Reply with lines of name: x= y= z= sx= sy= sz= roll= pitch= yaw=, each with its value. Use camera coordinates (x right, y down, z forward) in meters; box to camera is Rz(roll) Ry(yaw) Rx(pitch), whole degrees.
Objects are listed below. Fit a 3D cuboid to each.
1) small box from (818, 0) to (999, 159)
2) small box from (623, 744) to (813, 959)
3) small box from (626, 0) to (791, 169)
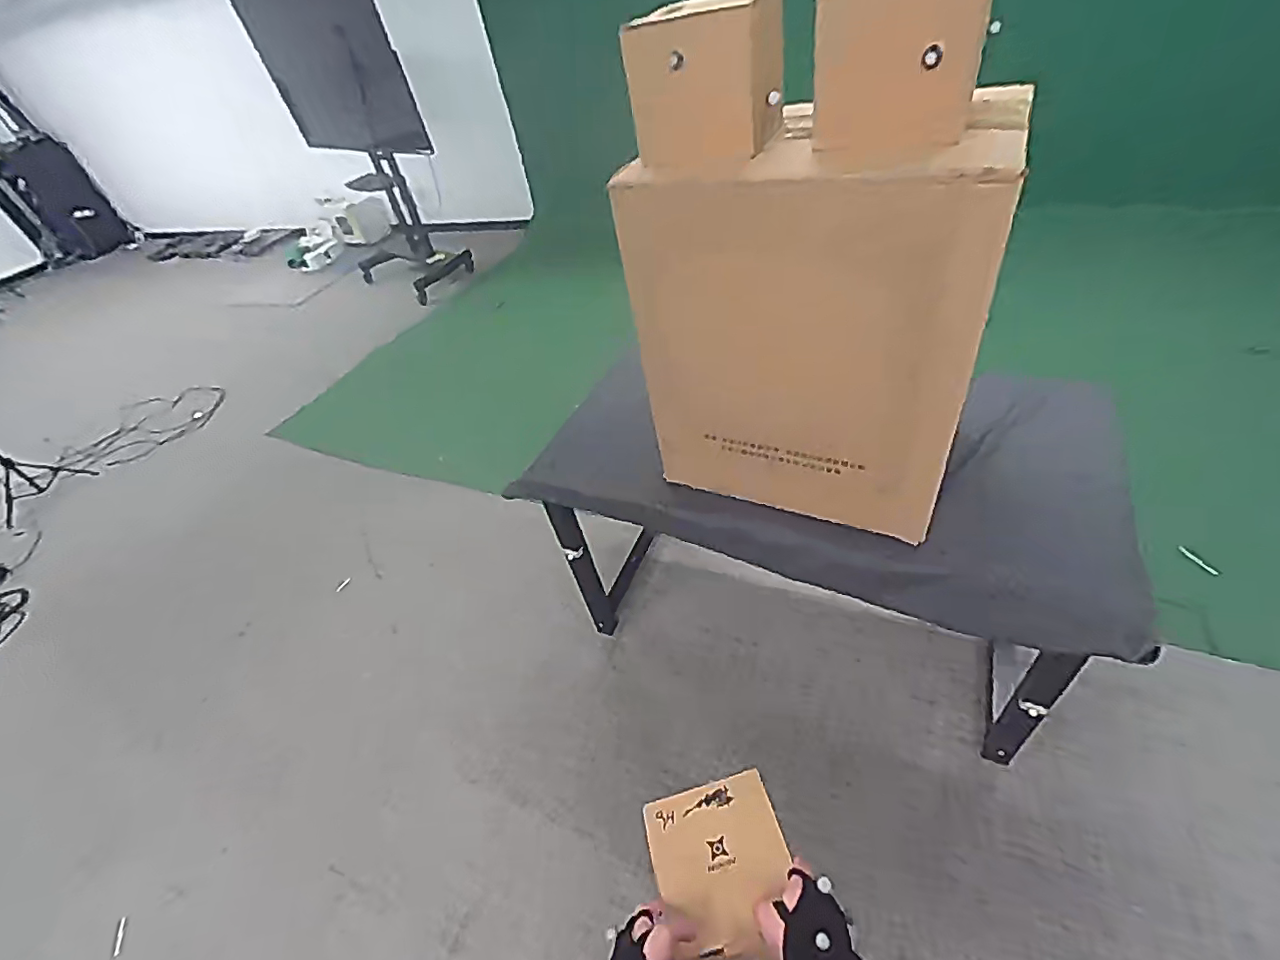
small box: x=0.333 y=-0.523 z=0.677 sx=0.179 sy=0.176 sz=0.168 roll=13 pitch=50 yaw=27
small box: x=0.111 y=0.506 z=0.715 sx=0.179 sy=0.176 sz=0.168 roll=-36 pitch=36 yaw=-26
small box: x=0.108 y=-0.570 z=0.782 sx=0.179 sy=0.176 sz=0.168 roll=14 pitch=53 yaw=28
